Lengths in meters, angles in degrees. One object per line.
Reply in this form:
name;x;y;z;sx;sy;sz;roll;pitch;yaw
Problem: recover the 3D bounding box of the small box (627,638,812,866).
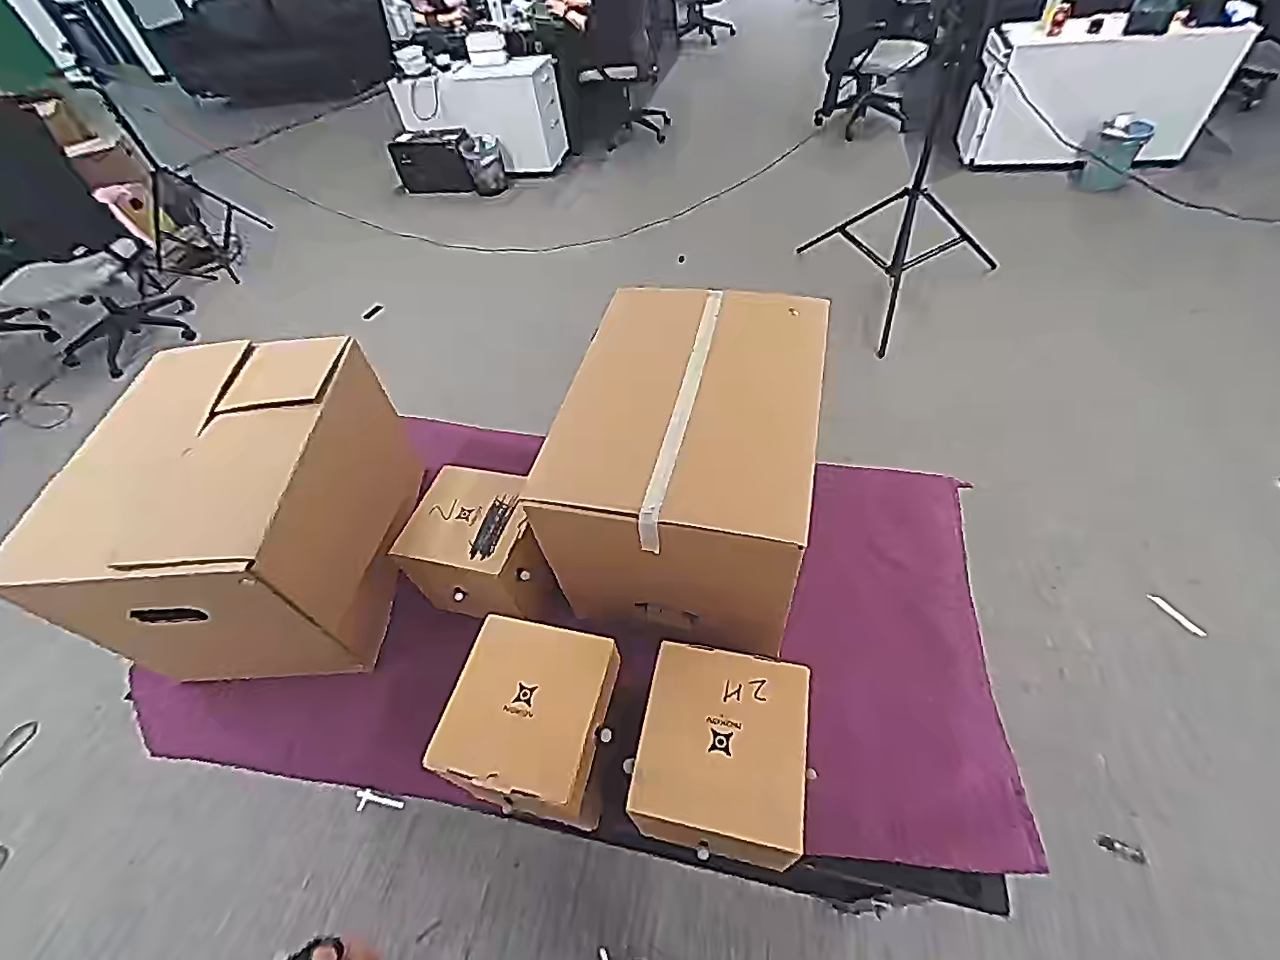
small box;0.094;0.306;0.606;0.168;0.176;0.179;7;51;13
